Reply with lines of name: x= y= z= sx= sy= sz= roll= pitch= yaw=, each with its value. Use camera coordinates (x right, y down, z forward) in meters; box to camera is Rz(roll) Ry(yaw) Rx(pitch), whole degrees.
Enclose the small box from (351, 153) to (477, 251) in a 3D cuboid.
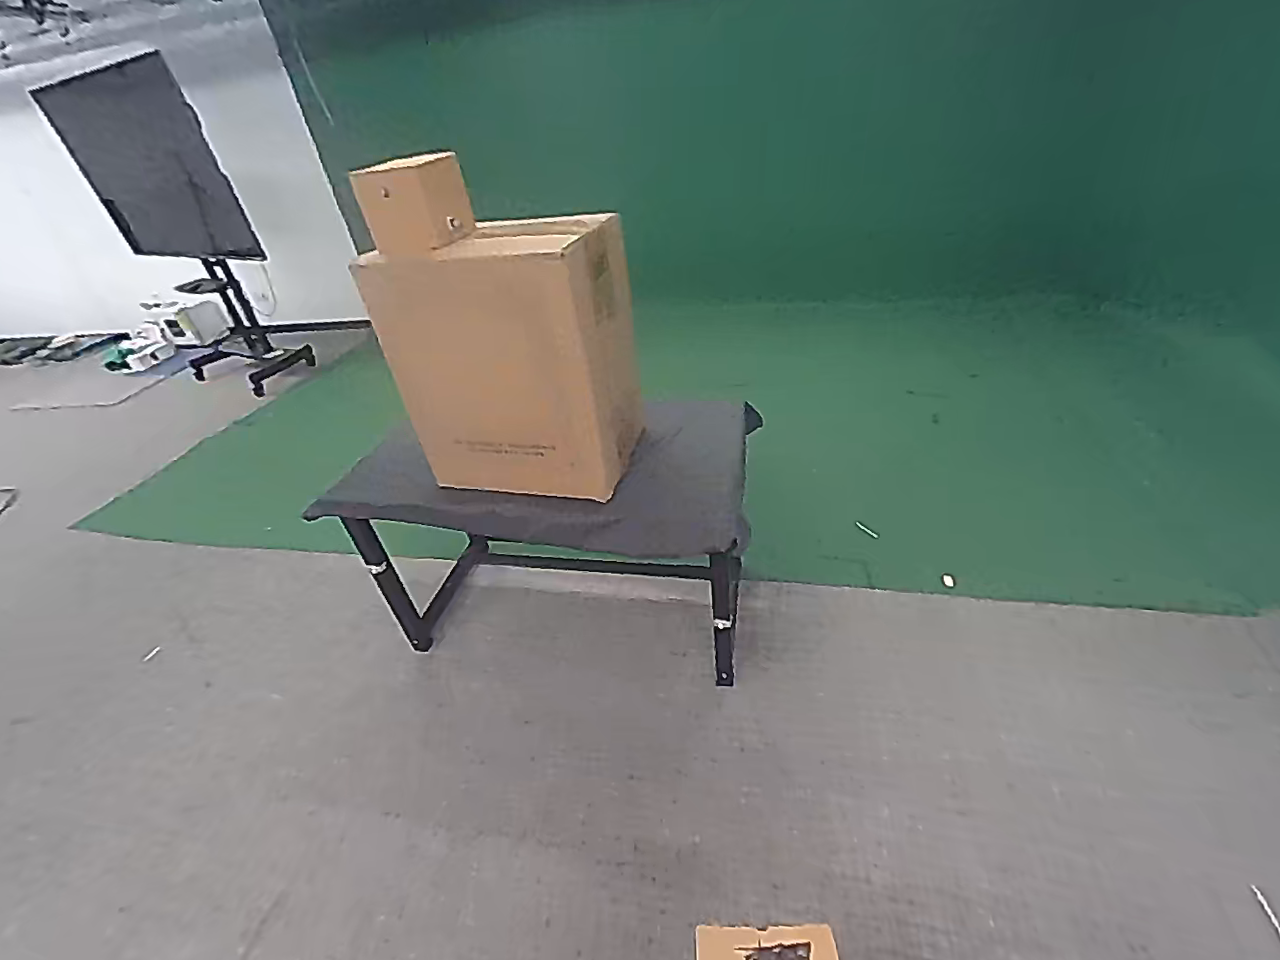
small box: x=-0.504 y=-0.630 z=1.232 sx=0.179 sy=0.176 sz=0.168 roll=5 pitch=40 yaw=16
